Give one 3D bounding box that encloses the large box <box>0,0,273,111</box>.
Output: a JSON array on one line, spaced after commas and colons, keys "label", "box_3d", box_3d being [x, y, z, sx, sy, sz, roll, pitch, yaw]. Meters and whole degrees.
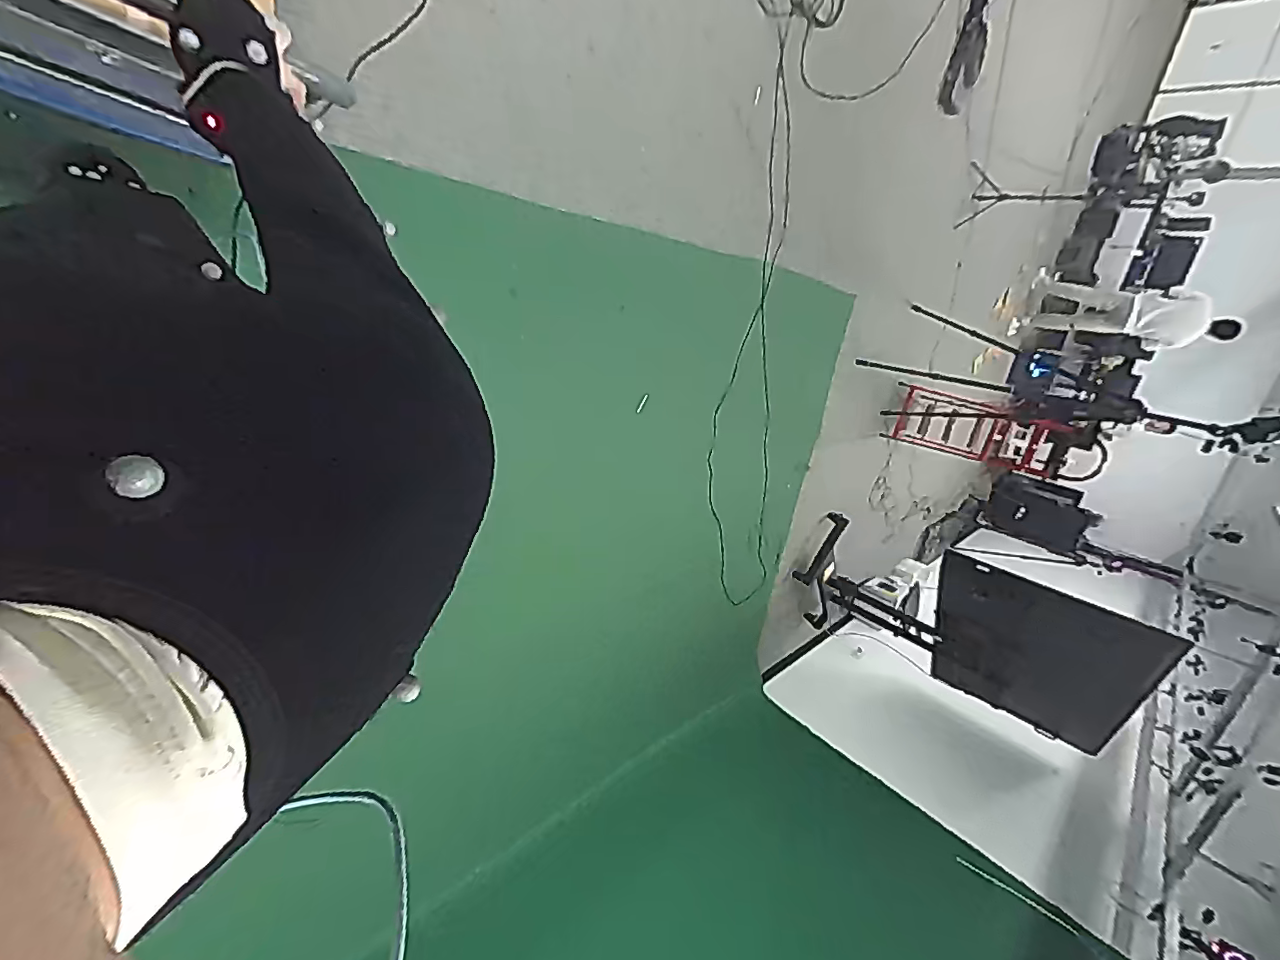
[{"label": "large box", "box_3d": [-0.757, -0.845, 0.796, 0.320, 0.320, 0.408, -2, 110, -48]}]
